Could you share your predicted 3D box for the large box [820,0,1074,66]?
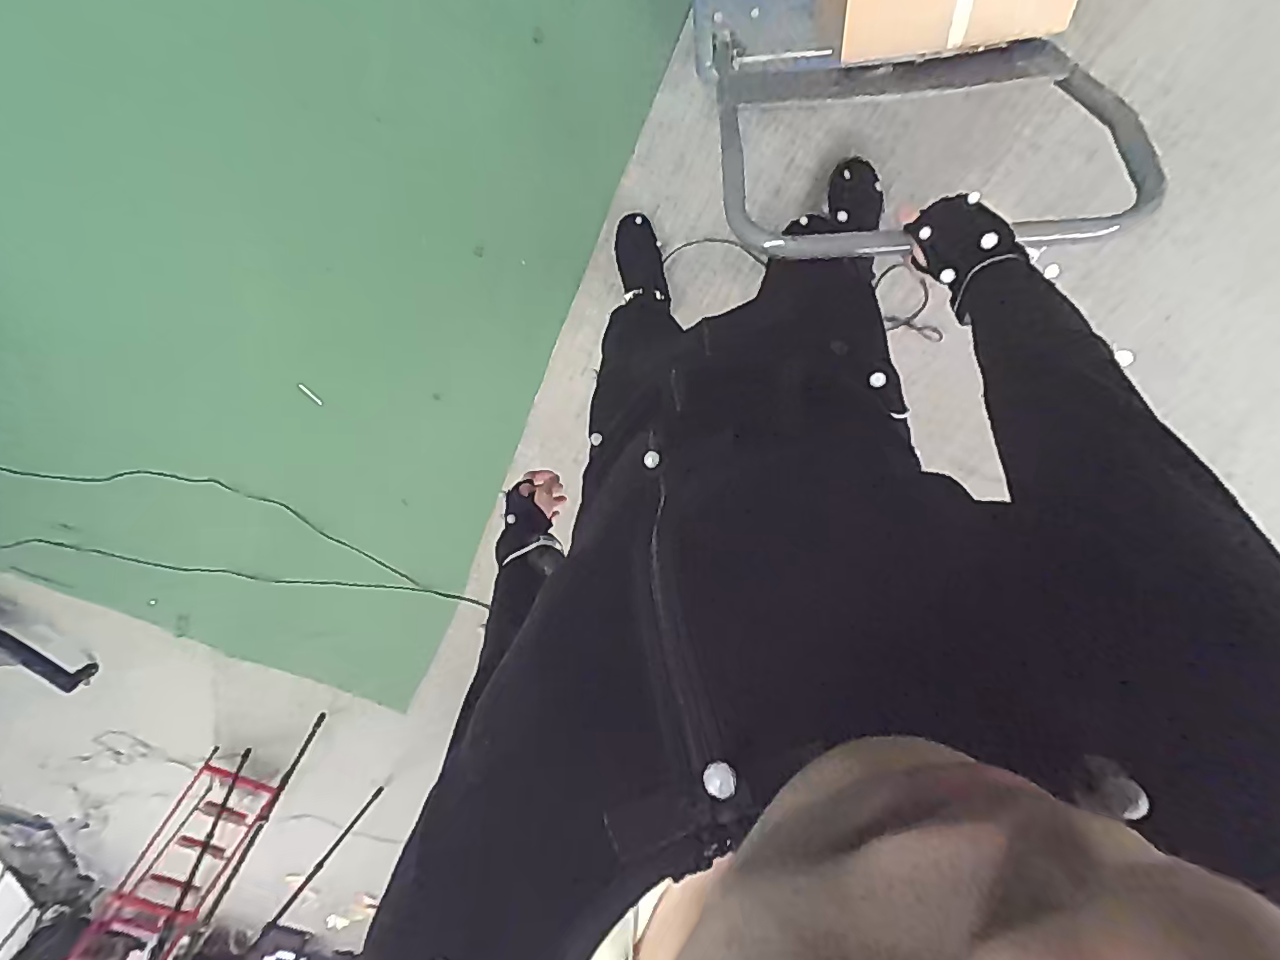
[{"bbox_3d":[0.443,-0.882,0.761,0.320,0.320,0.408,-2,138,9],"label":"large box"}]
